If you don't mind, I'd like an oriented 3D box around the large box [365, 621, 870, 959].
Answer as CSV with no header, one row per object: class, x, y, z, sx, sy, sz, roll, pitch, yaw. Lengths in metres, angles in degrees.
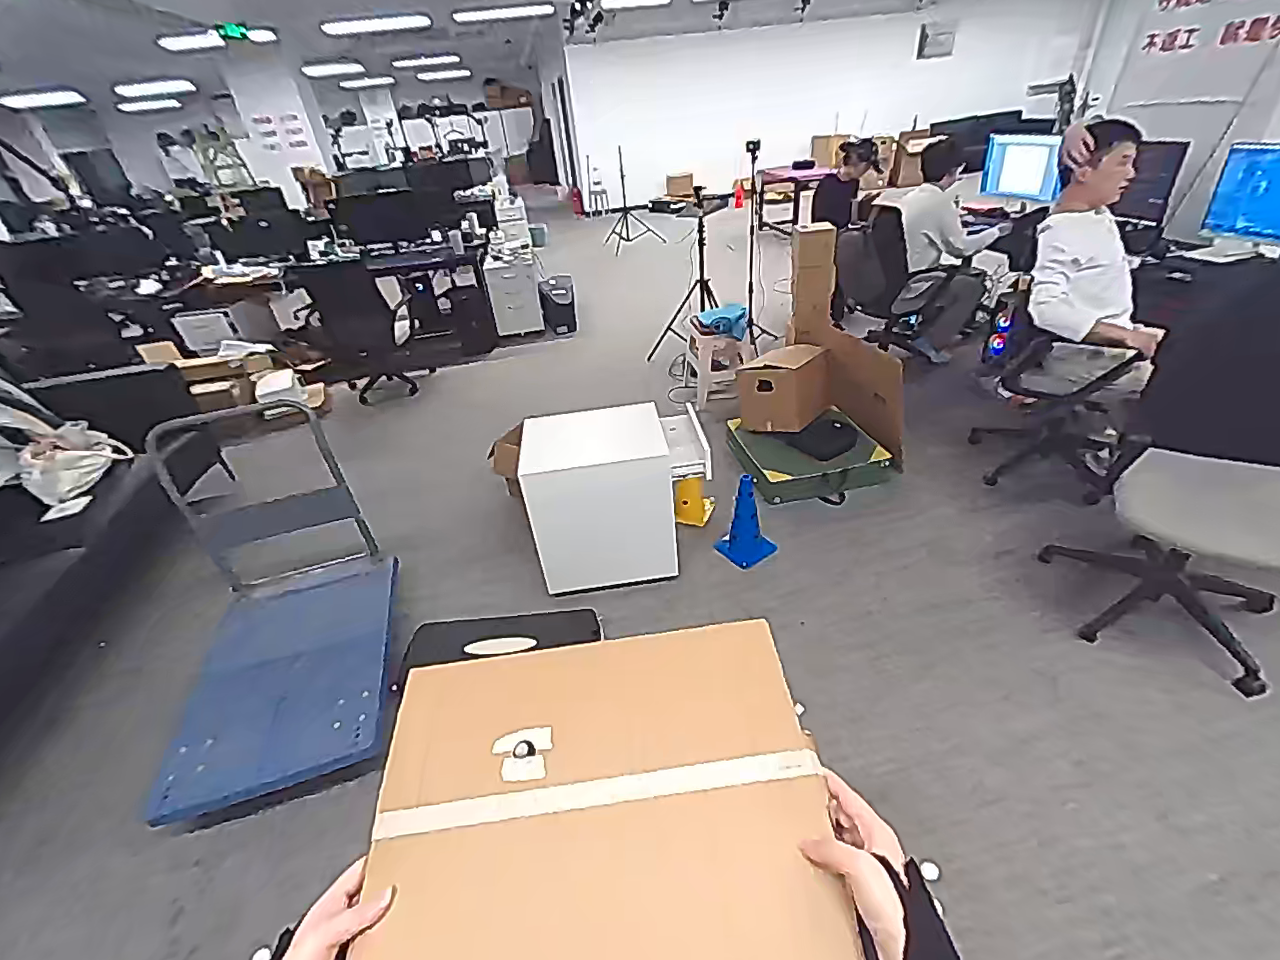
large box,-0.019,0.402,0.607,0.408,0.320,0.320,-10,43,1
